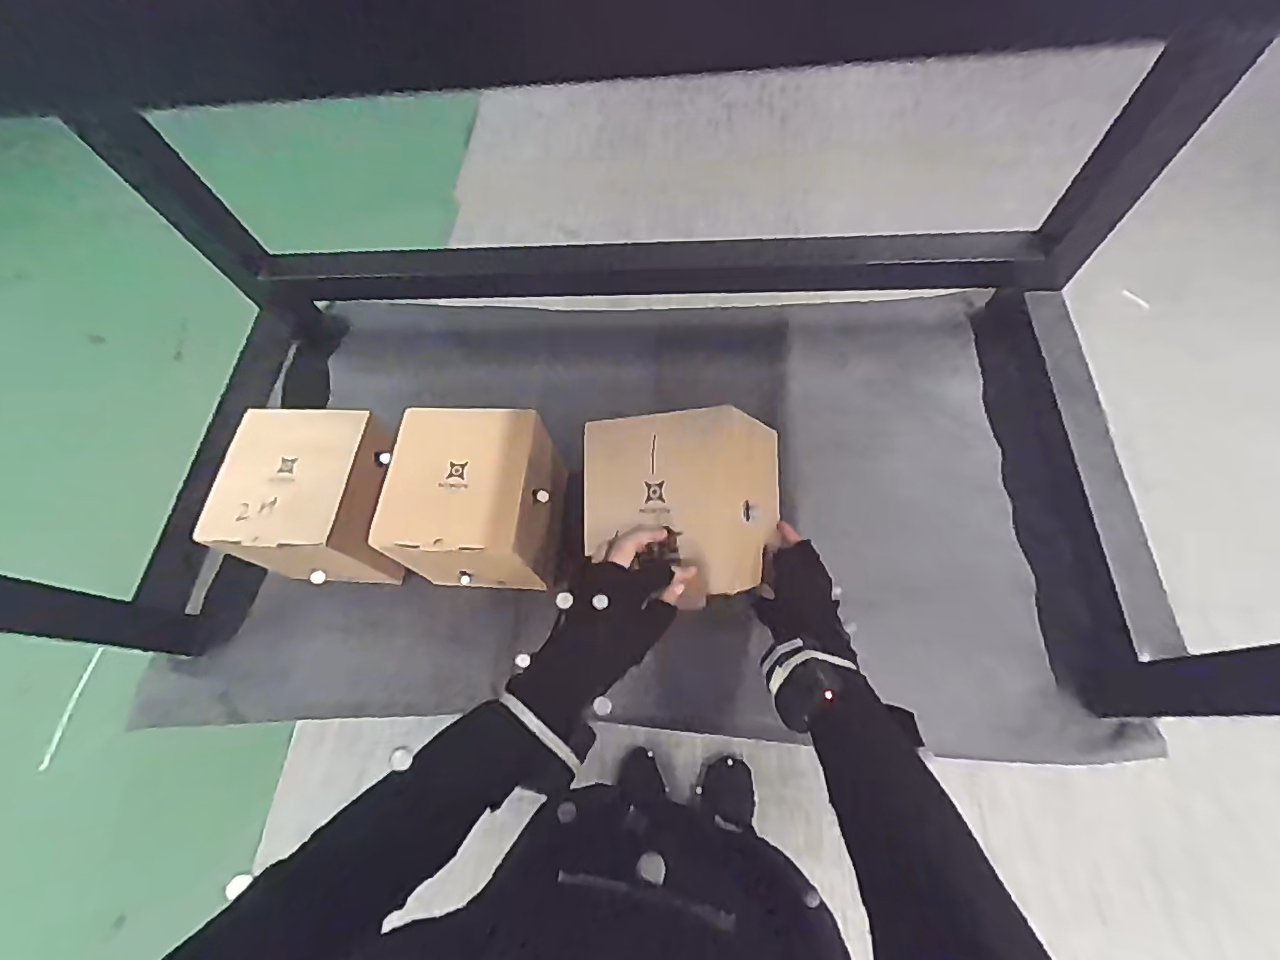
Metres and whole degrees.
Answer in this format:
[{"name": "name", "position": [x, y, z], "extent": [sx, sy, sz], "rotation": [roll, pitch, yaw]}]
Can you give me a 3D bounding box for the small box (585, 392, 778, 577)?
[{"name": "small box", "position": [0.053, 0.013, 0.606], "extent": [0.168, 0.176, 0.179], "rotation": [-4, 83, 28]}]
